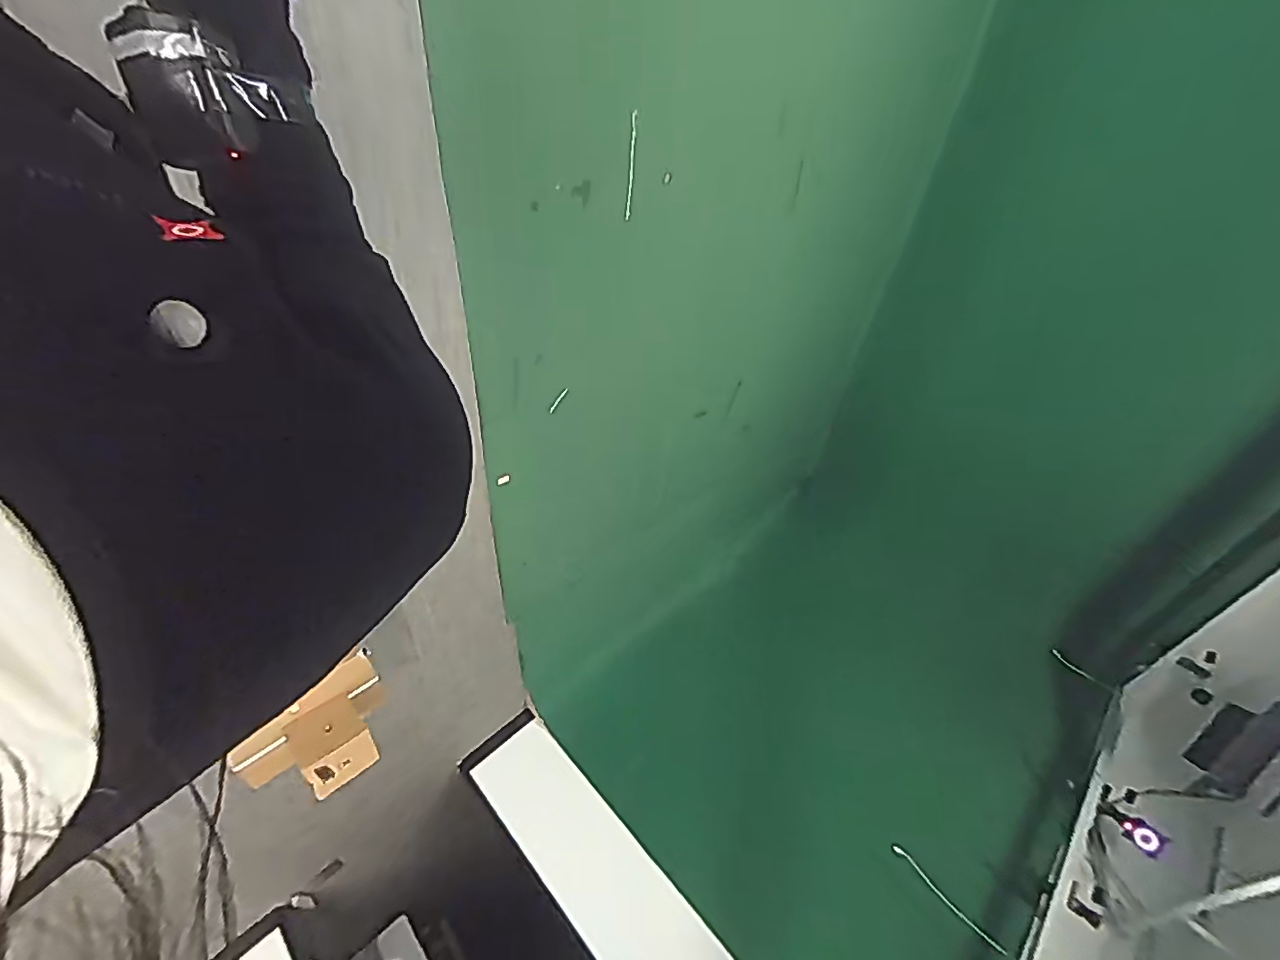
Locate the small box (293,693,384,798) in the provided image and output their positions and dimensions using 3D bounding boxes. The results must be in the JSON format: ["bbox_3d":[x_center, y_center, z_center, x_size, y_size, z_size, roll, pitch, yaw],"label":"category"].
[{"bbox_3d":[-0.884,0.768,1.580,0.179,0.176,0.168,-26,136,-39],"label":"small box"}]
